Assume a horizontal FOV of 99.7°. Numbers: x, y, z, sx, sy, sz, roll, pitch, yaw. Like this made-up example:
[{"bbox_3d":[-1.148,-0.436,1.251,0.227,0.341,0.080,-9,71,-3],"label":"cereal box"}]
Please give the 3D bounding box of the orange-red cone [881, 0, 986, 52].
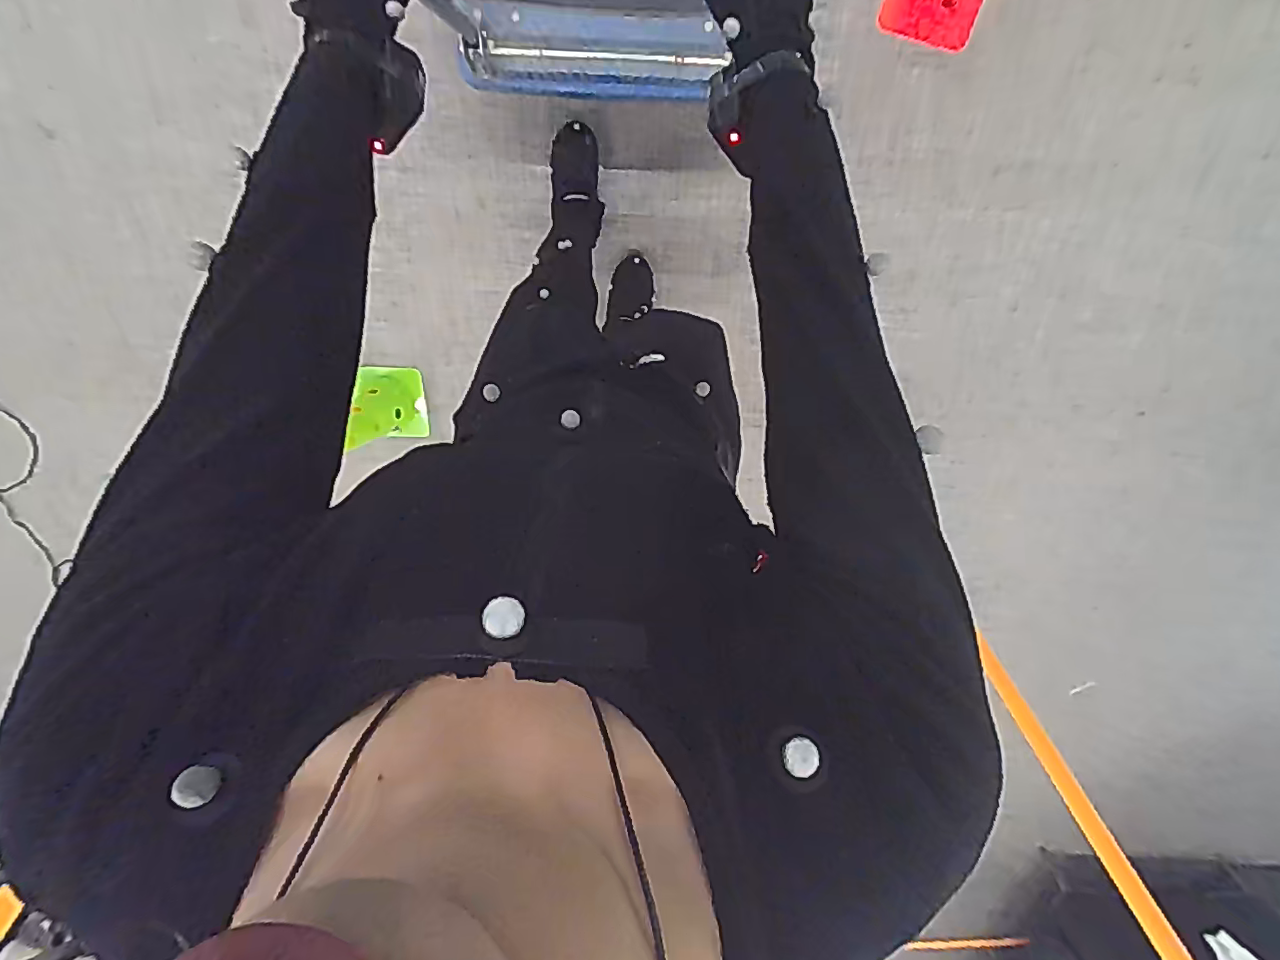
[{"bbox_3d":[0.605,-0.922,0.932,0.198,0.360,0.199,13,117,-5],"label":"orange-red cone"}]
